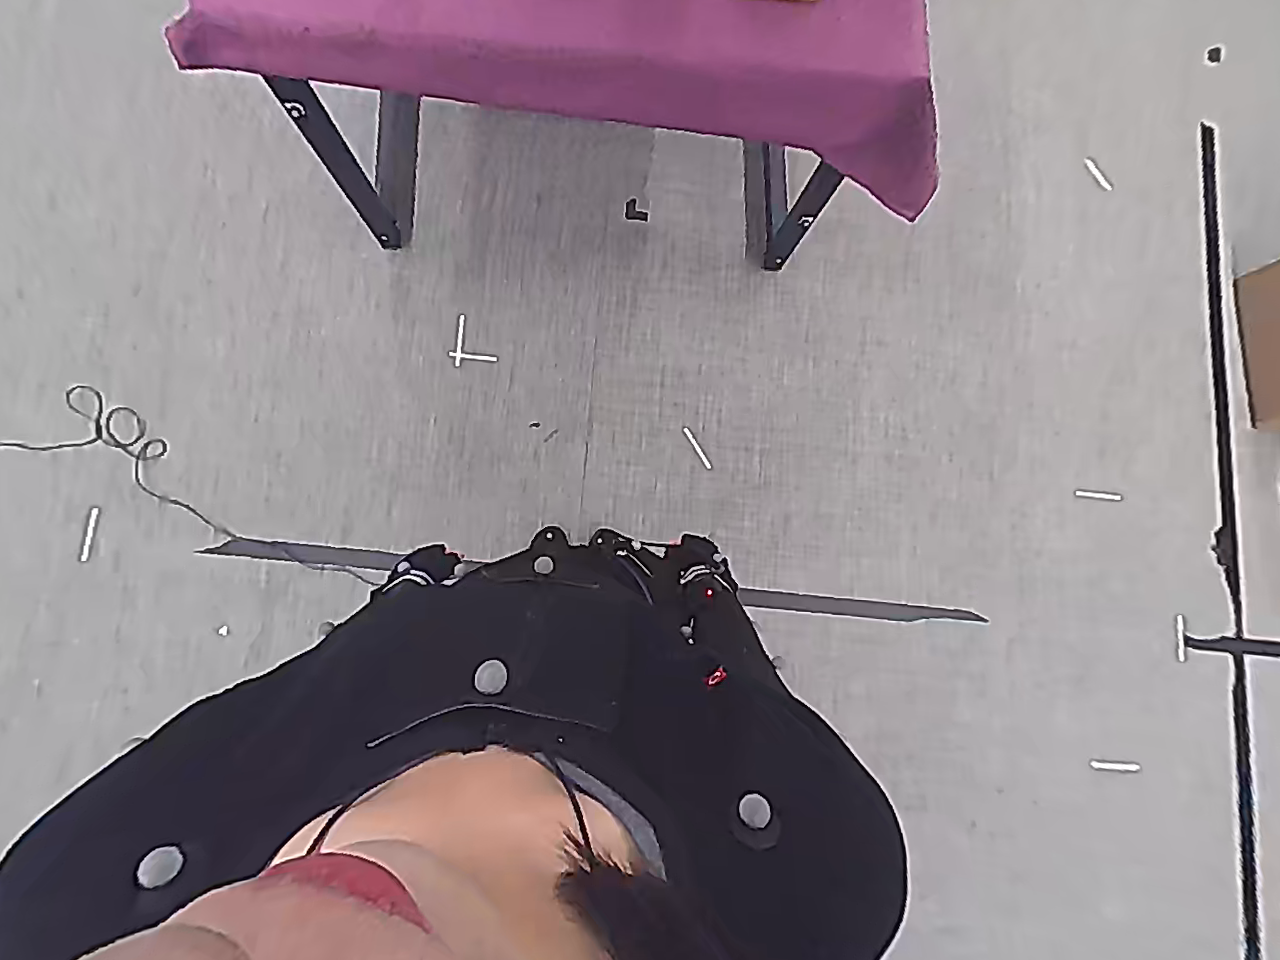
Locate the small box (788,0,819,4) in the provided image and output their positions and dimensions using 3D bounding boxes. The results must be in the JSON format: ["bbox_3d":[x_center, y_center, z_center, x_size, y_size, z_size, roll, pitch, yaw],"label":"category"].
[{"bbox_3d":[0.244,-0.925,0.864,0.168,0.176,0.179,0,84,-5],"label":"small box"}]
